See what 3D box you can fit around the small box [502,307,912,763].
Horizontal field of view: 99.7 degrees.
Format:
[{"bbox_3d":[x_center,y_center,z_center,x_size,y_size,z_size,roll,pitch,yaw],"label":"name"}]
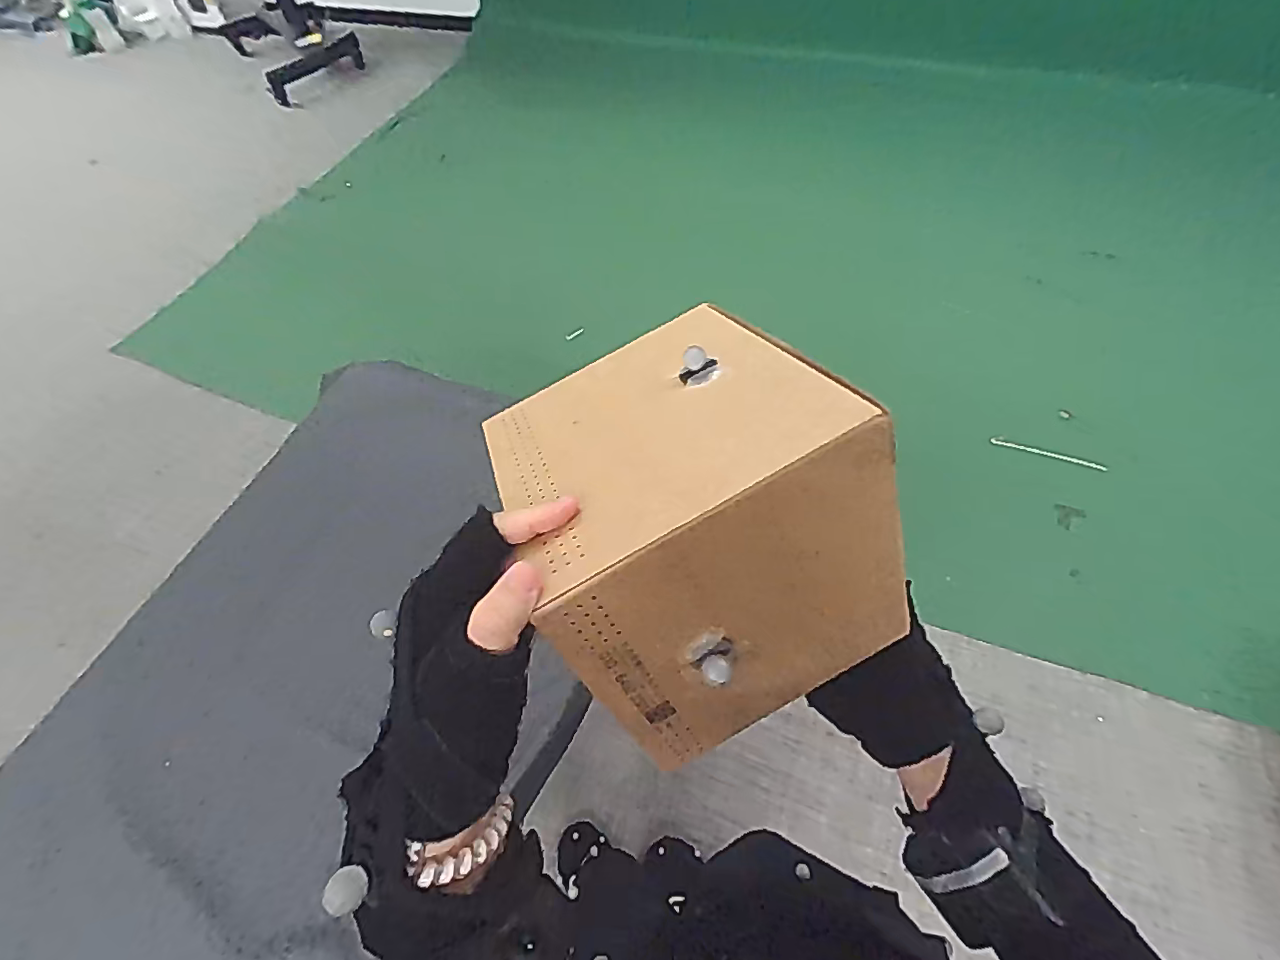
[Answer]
[{"bbox_3d":[0.031,0.024,0.327,0.176,0.168,0.179,-28,37,-4],"label":"small box"}]
